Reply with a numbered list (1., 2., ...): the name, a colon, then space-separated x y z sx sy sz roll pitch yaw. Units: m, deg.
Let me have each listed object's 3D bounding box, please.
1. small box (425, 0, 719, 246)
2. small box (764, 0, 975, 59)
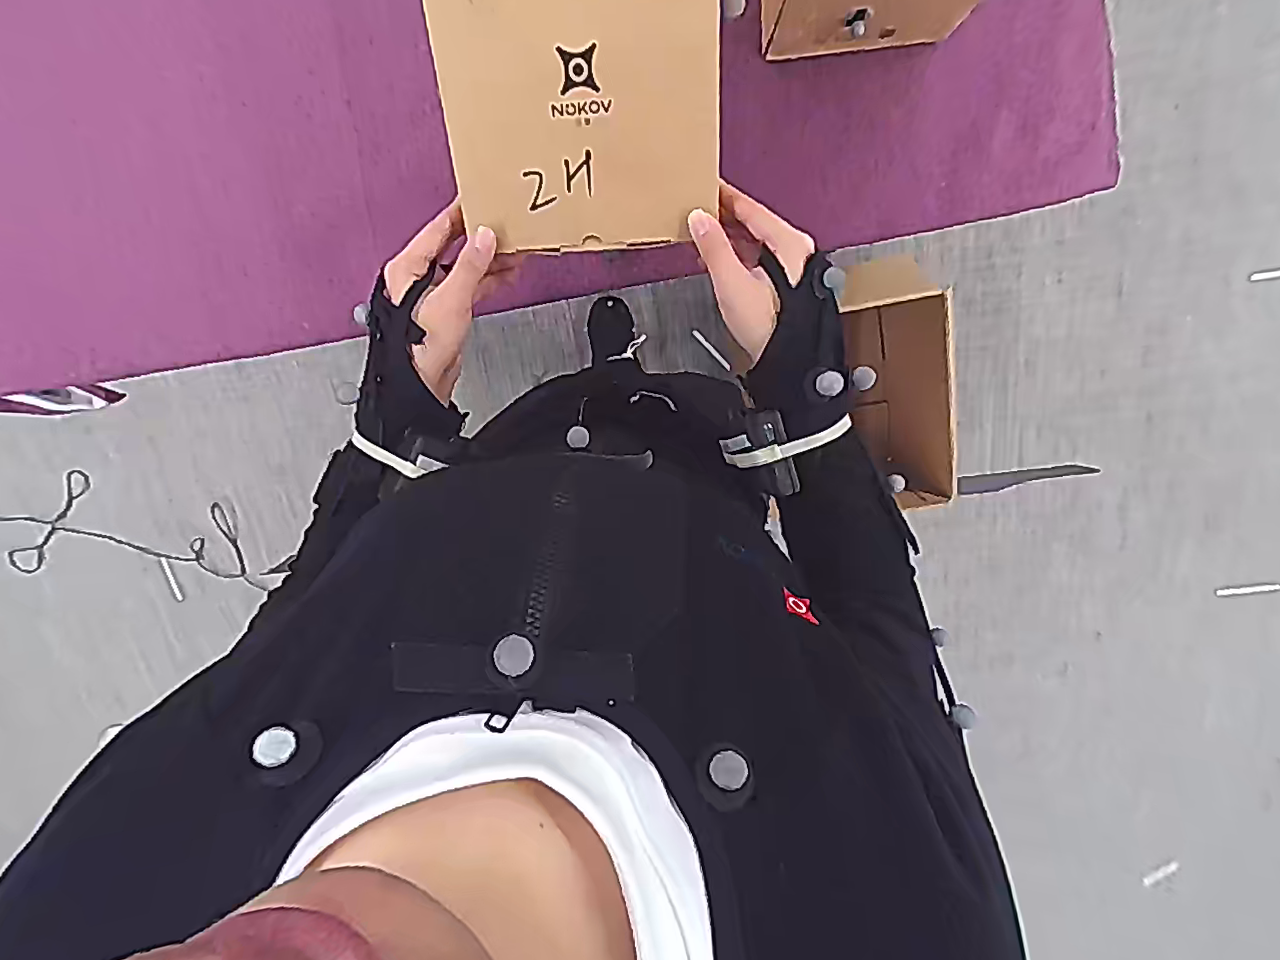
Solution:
1. small box: -0.033 -0.266 0.385 0.168 0.176 0.179 -1 116 5
2. small box: 0.185 -0.457 0.397 0.168 0.176 0.179 -4 105 4
